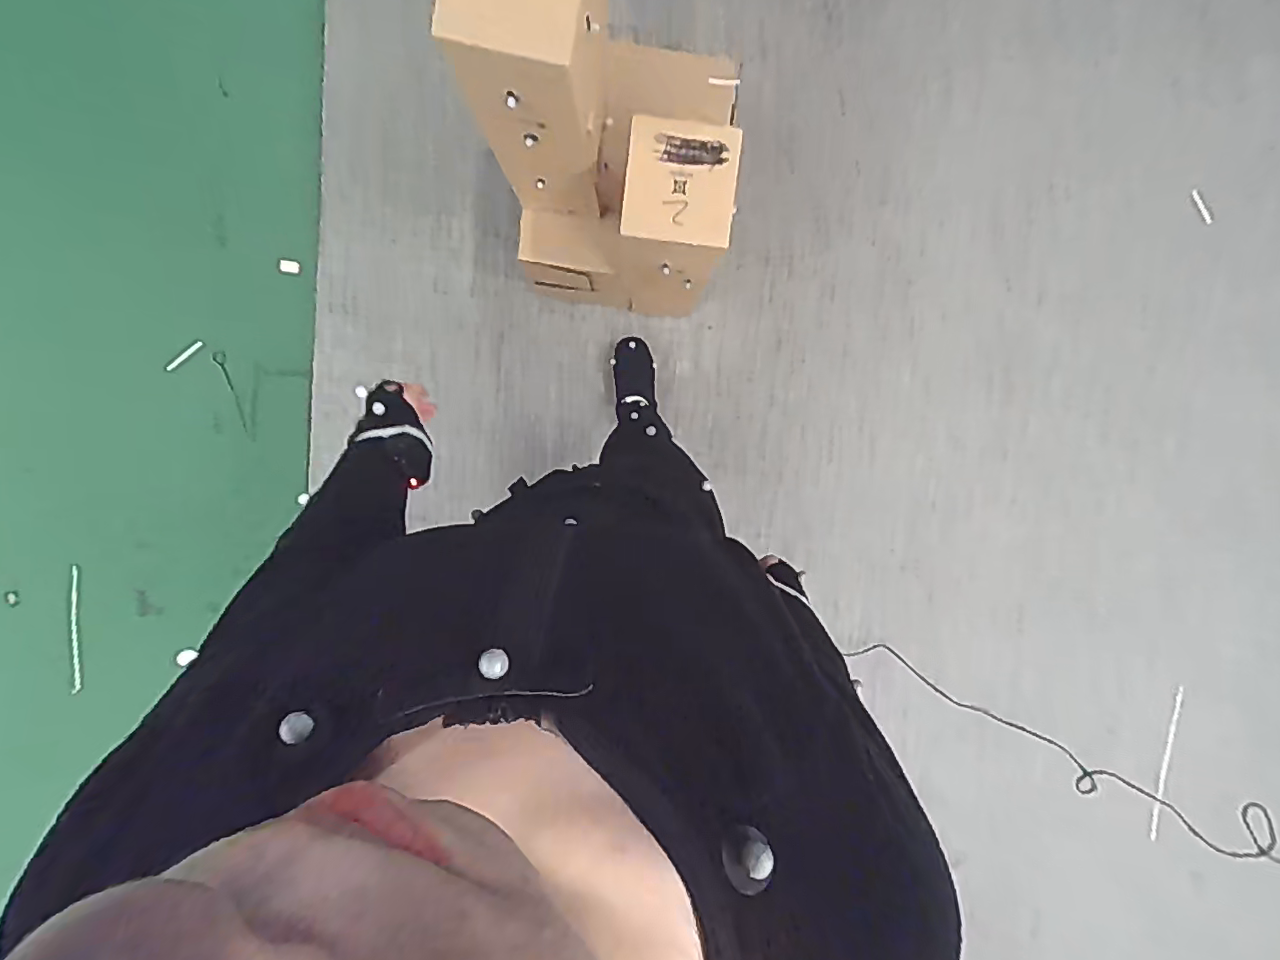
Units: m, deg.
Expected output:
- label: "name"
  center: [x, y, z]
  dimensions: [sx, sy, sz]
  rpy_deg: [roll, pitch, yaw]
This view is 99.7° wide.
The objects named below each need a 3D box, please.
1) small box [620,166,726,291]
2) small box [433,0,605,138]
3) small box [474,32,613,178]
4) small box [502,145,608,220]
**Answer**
- label: "small box"
  center: [0.058, -0.472, 1.040]
  dimensions: [0.179, 0.176, 0.168]
  rpy_deg: [6, 95, -1]
- label: "small box"
  center: [-0.143, -0.583, 0.697]
  dimensions: [0.168, 0.176, 0.179]
  rpy_deg: [13, 95, -2]
- label: "small box"
  center: [-0.144, -0.605, 0.858]
  dimensions: [0.179, 0.176, 0.168]
  rpy_deg: [6, 95, 2]
- label: "small box"
  center: [-0.152, -0.625, 1.024]
  dimensions: [0.168, 0.176, 0.179]
  rpy_deg: [7, 94, -1]
